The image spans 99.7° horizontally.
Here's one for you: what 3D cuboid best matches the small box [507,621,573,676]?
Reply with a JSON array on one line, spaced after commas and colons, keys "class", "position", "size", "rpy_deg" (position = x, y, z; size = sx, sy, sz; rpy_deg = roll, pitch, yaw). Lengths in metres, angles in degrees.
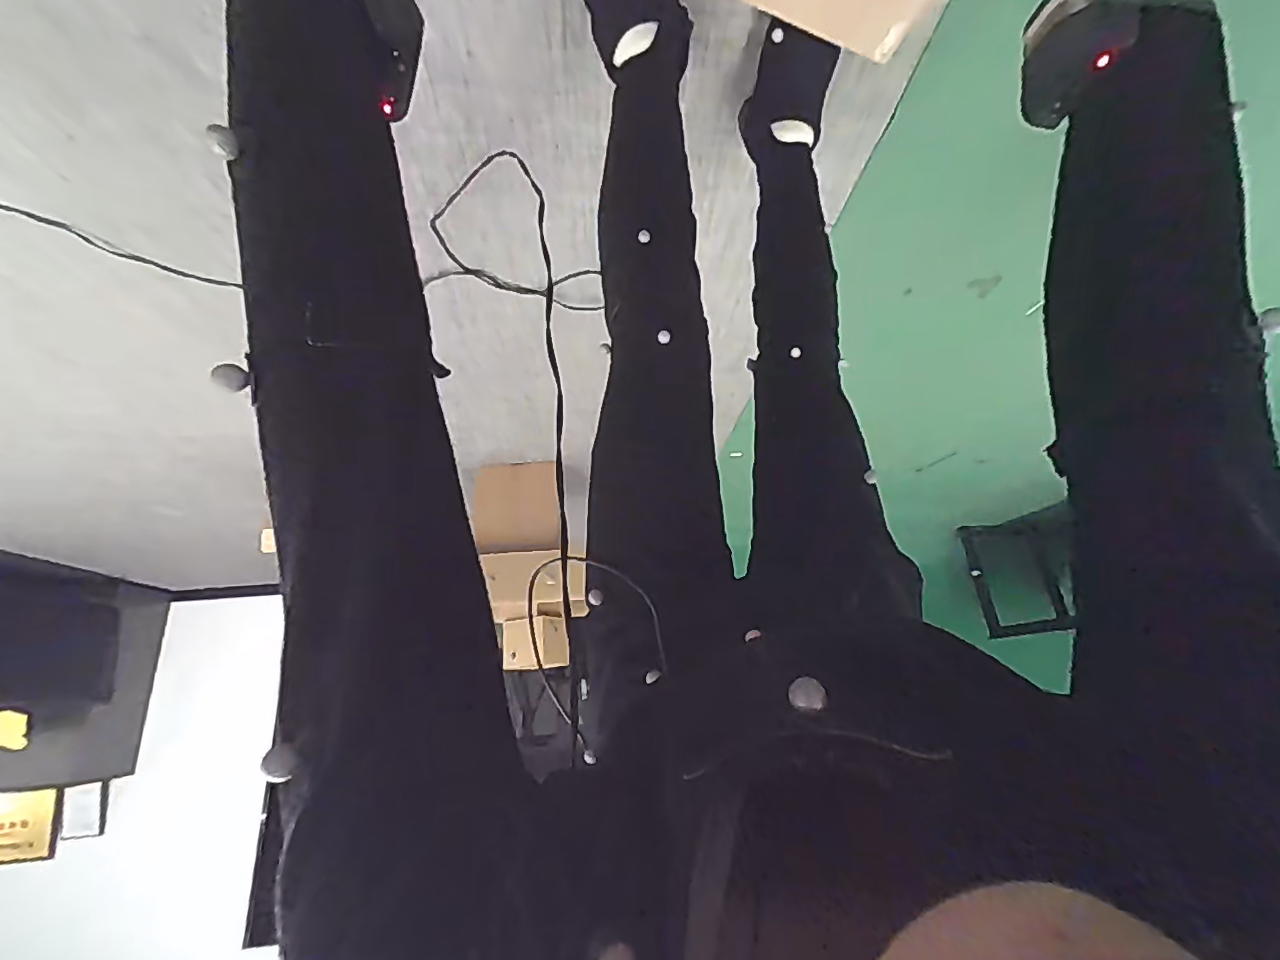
[{"class": "small box", "position": [-0.358, 0.610, 1.949], "size": [0.179, 0.176, 0.168], "rpy_deg": [-15, 157, 22]}]
